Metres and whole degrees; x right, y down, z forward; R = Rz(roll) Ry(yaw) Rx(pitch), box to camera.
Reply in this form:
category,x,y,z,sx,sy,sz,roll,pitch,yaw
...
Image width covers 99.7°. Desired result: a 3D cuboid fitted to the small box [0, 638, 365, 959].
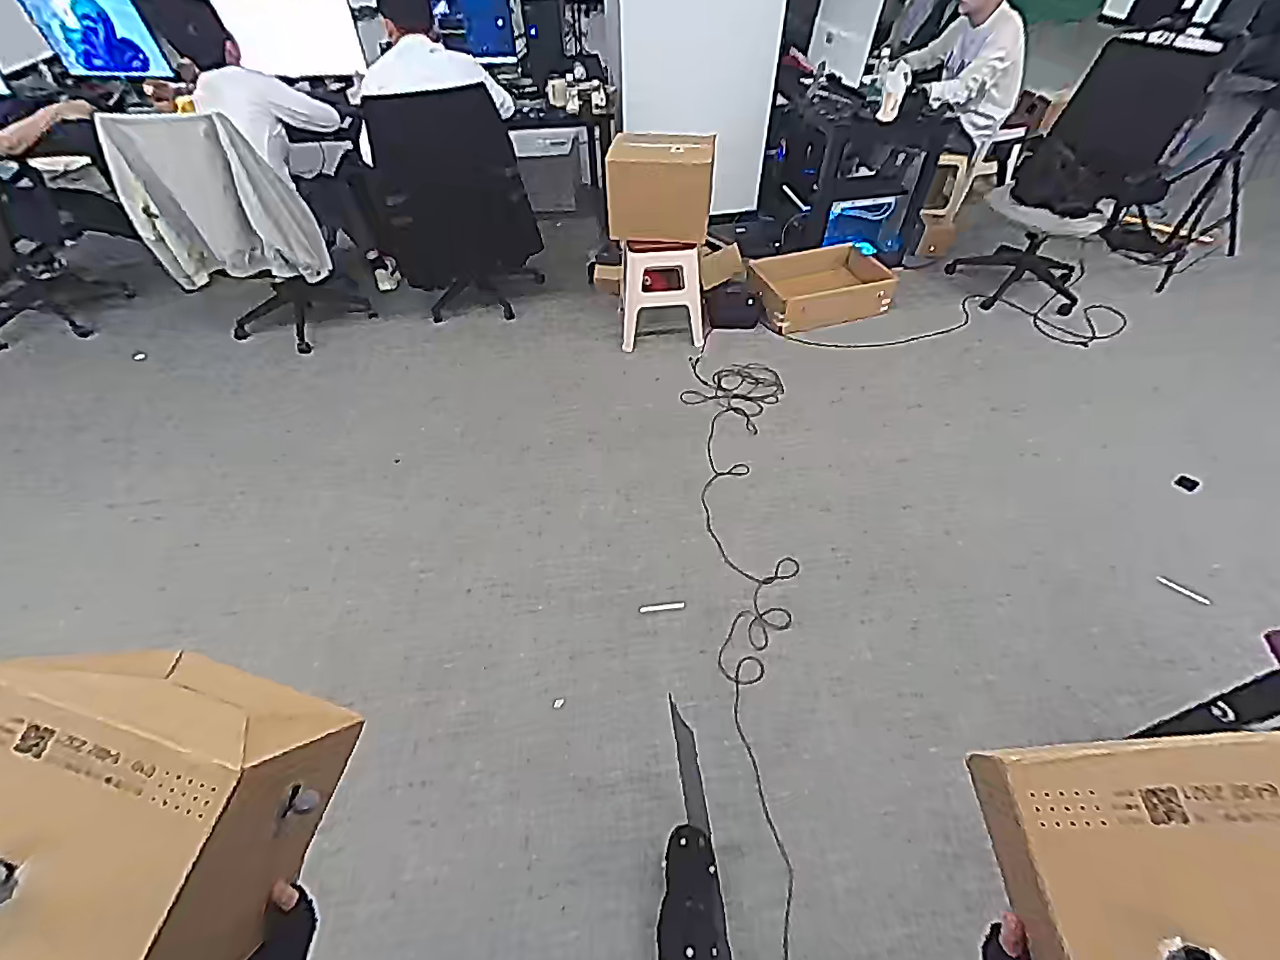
category,x,y,z,sx,sy,sz,roll,pitch,yaw
small box,-0.313,0.206,0.339,0.168,0.179,0.176,21,74,0
